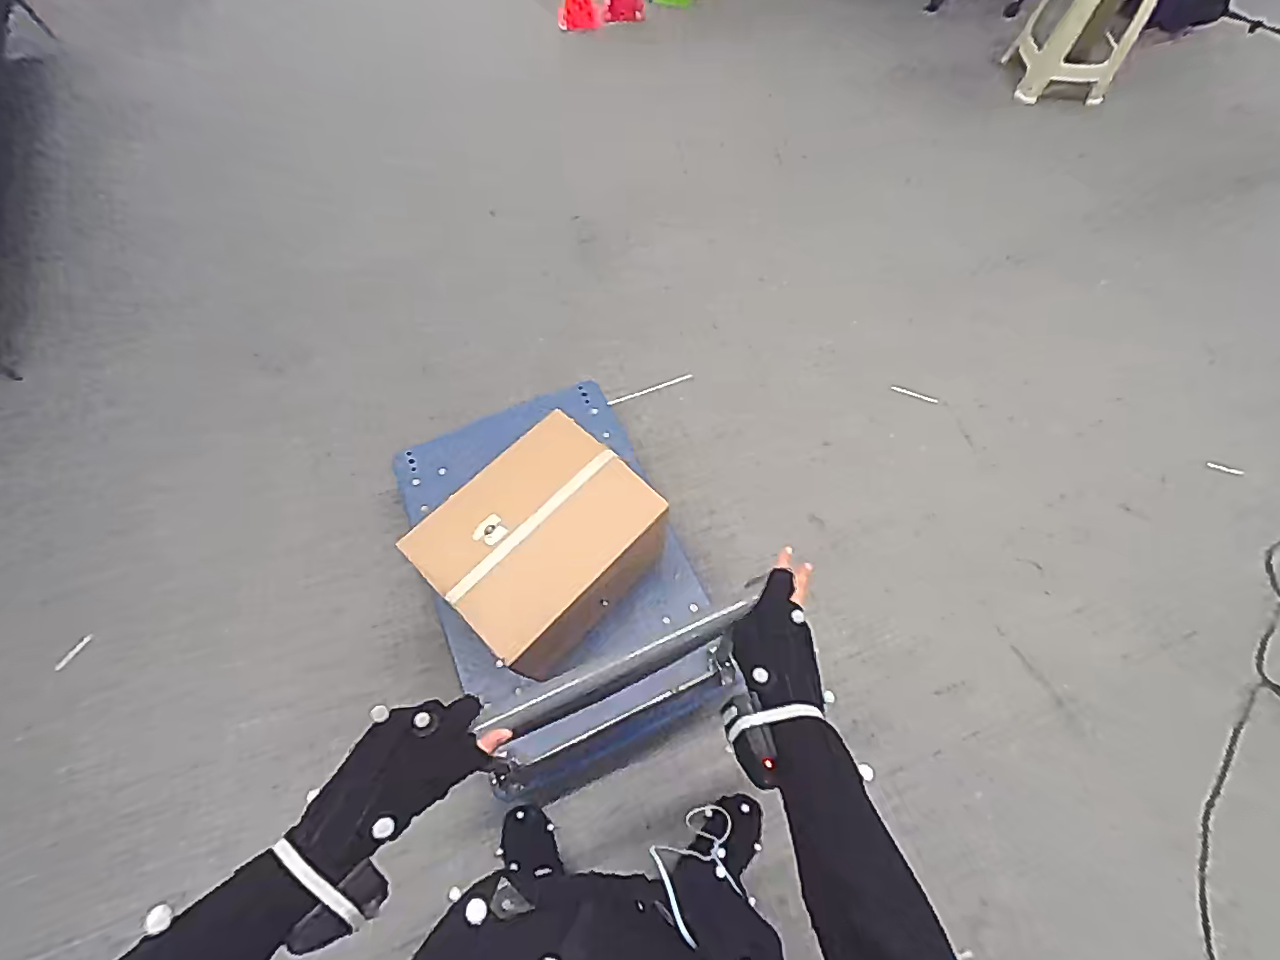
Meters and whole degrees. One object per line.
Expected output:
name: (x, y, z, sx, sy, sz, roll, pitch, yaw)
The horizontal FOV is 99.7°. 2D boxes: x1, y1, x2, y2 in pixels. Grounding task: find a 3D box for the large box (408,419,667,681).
large box: (-0.184, 0.158, 1.146, 0.320, 0.320, 0.408, 39, 72, 17)
